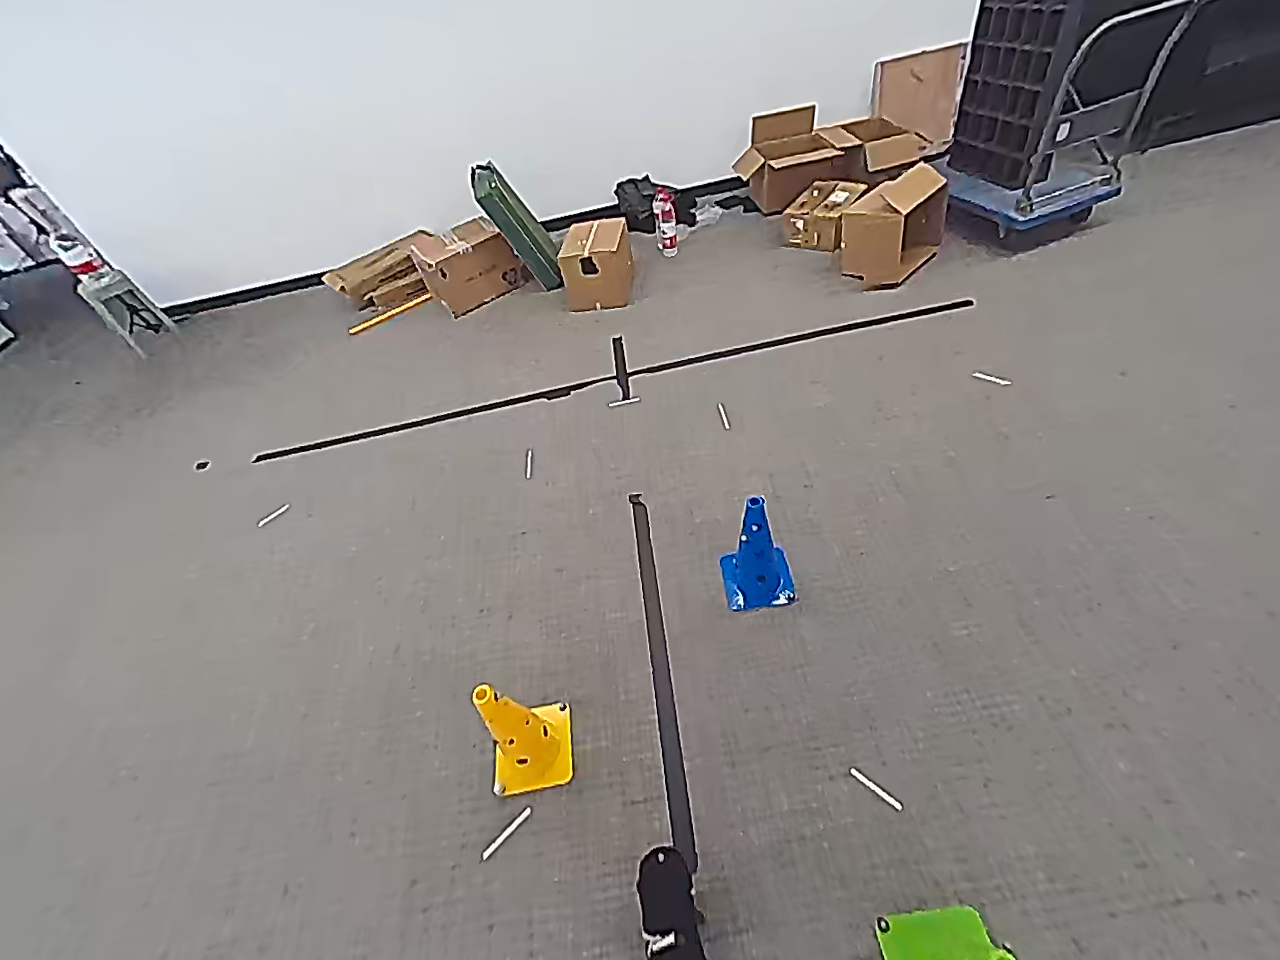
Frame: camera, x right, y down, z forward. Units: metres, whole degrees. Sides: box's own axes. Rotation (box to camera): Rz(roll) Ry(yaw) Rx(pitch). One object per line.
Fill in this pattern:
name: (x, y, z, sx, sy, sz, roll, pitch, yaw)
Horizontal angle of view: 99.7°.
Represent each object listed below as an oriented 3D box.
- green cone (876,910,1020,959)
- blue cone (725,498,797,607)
green cone: (0.531, 0.796, 0.855, 0.202, 0.368, 0.200, -10, 45, 2)
blue cone: (0.335, 0.185, 1.515, 0.192, 0.380, 0.193, -7, 46, 5)
